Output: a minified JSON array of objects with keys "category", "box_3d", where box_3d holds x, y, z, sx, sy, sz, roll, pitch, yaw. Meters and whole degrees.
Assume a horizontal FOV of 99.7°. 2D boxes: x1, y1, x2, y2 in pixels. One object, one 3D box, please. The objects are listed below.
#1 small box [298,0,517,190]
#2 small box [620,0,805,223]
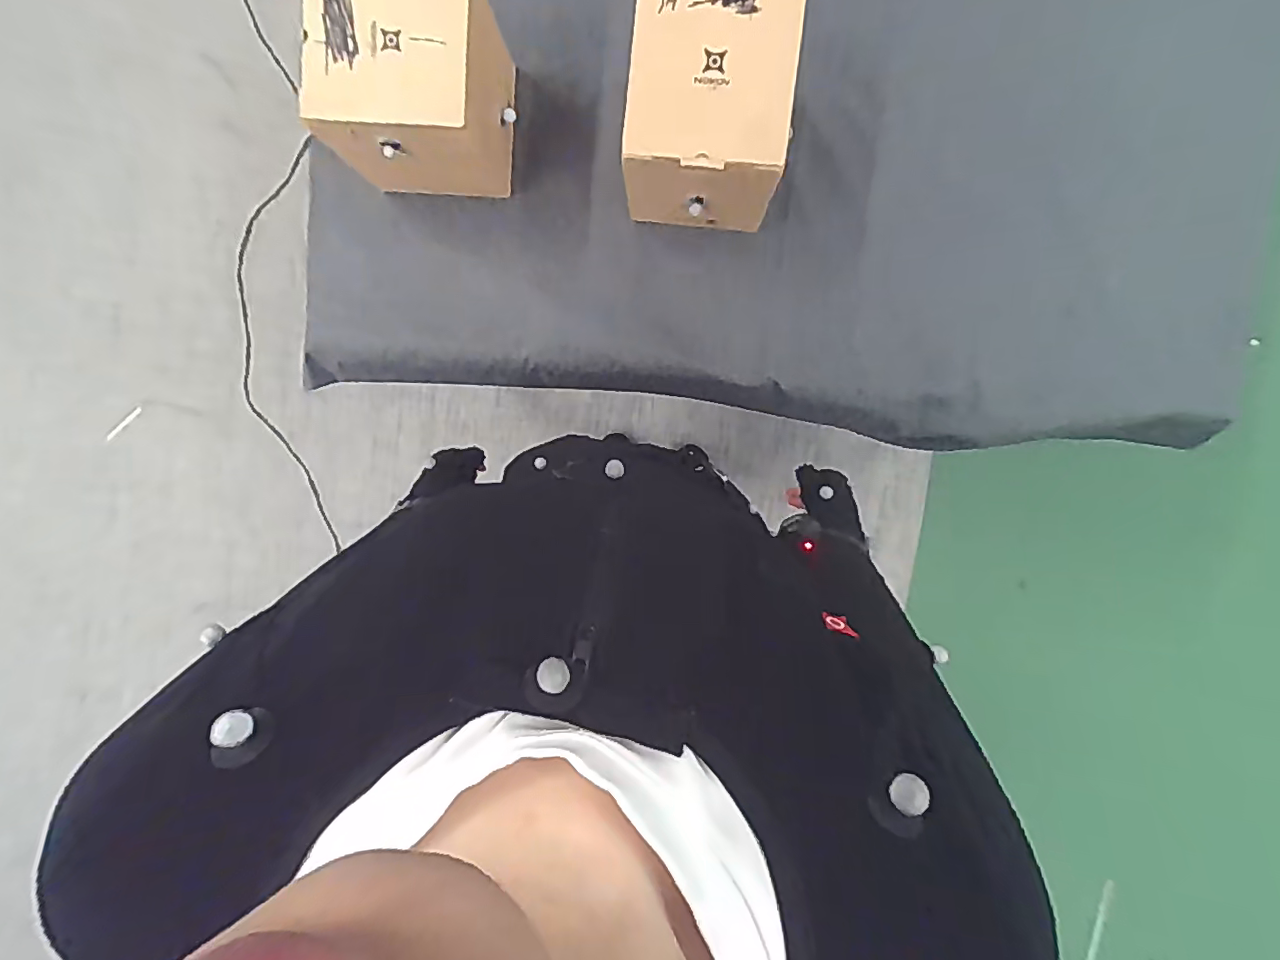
[{"category":"small box","box_3d":[-0.253,-0.456,0.621,0.179,0.176,0.168,4,96,1]},{"category":"small box","box_3d":[0.075,-0.411,0.609,0.168,0.176,0.179,7,96,2]}]
